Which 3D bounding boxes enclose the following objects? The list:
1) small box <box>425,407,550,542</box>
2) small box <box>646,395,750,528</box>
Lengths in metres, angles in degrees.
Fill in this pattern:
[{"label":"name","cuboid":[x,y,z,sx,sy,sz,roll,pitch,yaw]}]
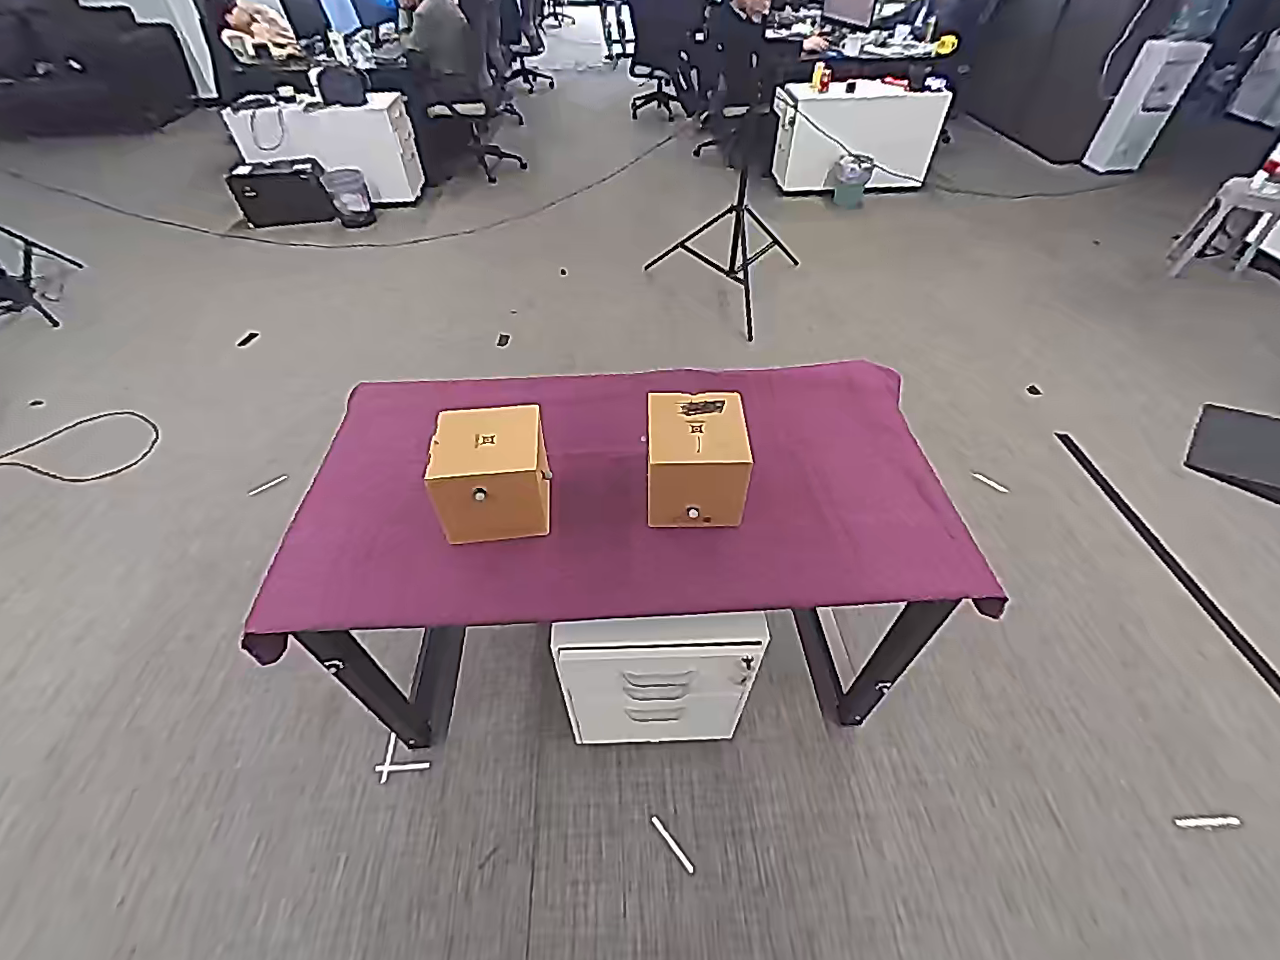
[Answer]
[{"label":"small box","cuboid":[-0.256,-0.008,0.955,0.179,0.176,0.168,-5,47,-4]},{"label":"small box","cuboid":[0.095,-0.033,0.973,0.168,0.176,0.179,-1,48,1]}]
